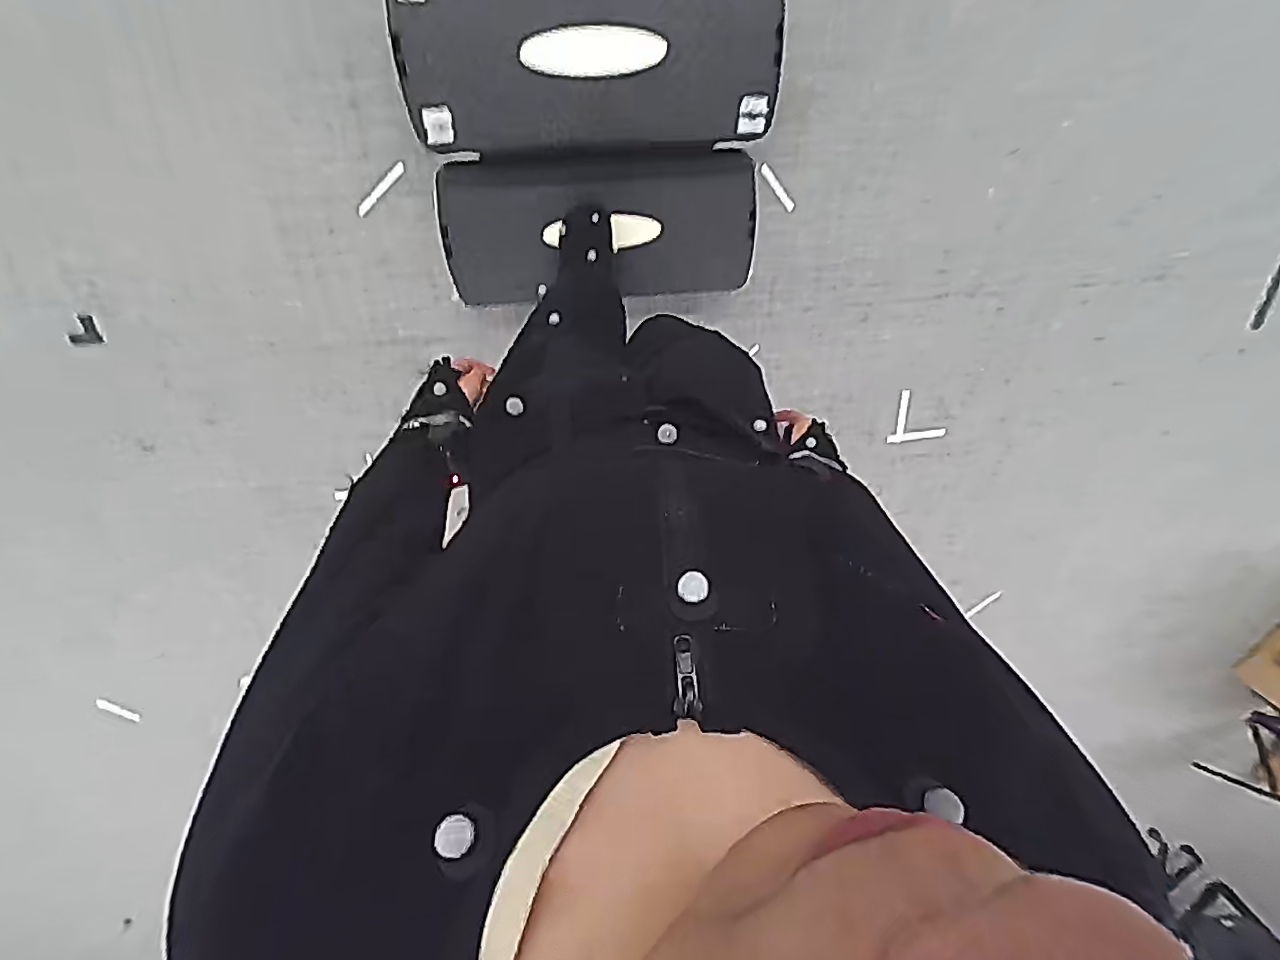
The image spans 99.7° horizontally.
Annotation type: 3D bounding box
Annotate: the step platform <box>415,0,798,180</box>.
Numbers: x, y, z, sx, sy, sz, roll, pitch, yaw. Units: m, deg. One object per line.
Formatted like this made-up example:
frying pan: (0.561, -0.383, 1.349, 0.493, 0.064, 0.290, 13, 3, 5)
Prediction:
step platform: (-0.057, -0.744, 1.023, 0.684, 0.204, 0.286, -2, 117, -7)
